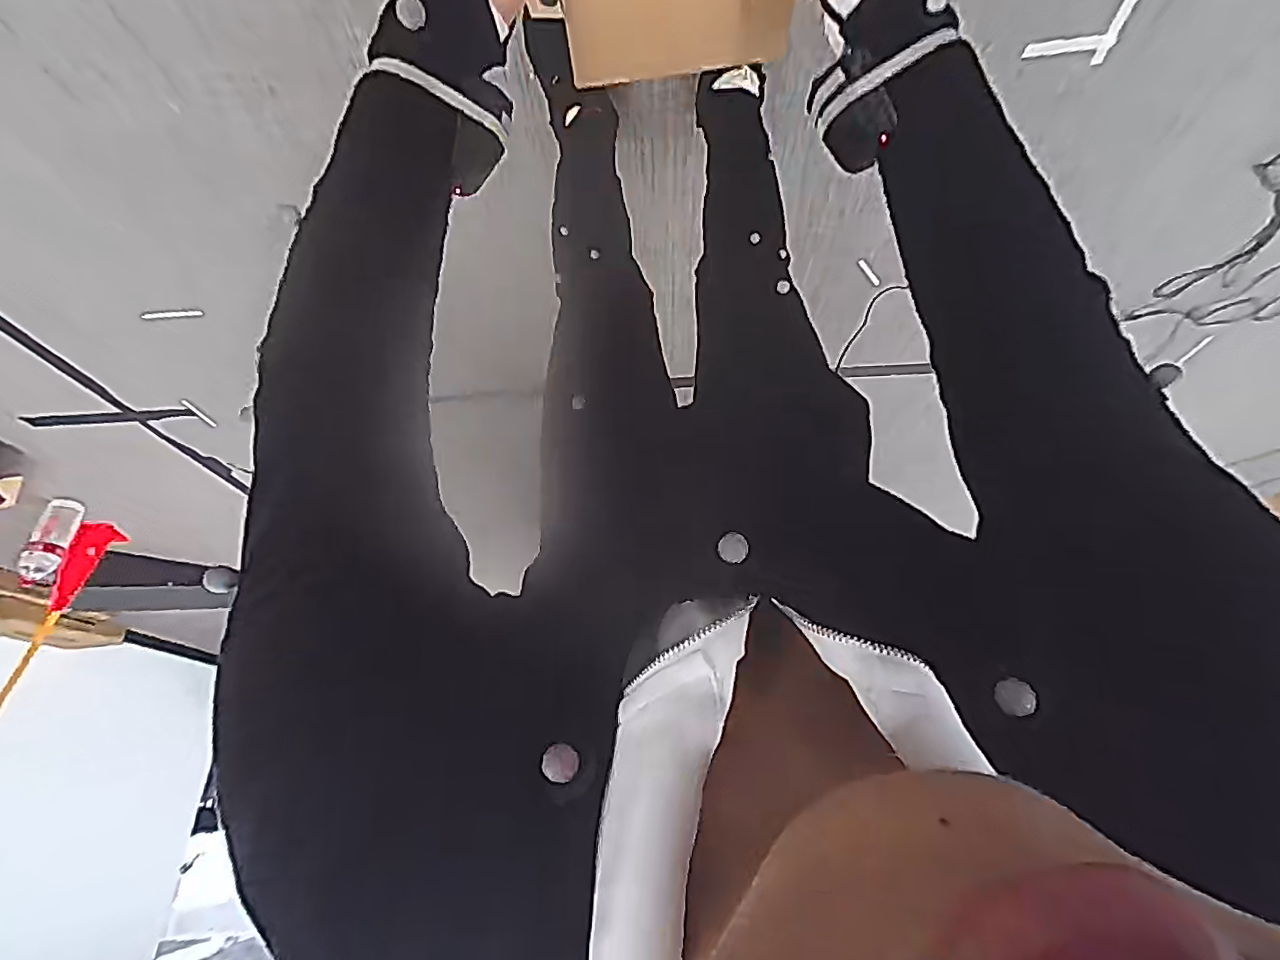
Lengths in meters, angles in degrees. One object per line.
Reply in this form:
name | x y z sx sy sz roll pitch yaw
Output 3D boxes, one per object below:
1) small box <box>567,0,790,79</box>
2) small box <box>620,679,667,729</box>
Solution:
small box | 0.018 -0.439 0.388 0.168 0.176 0.179 -8 154 1
small box | 0.013 0.912 2.200 0.179 0.176 0.168 -3 151 -1
